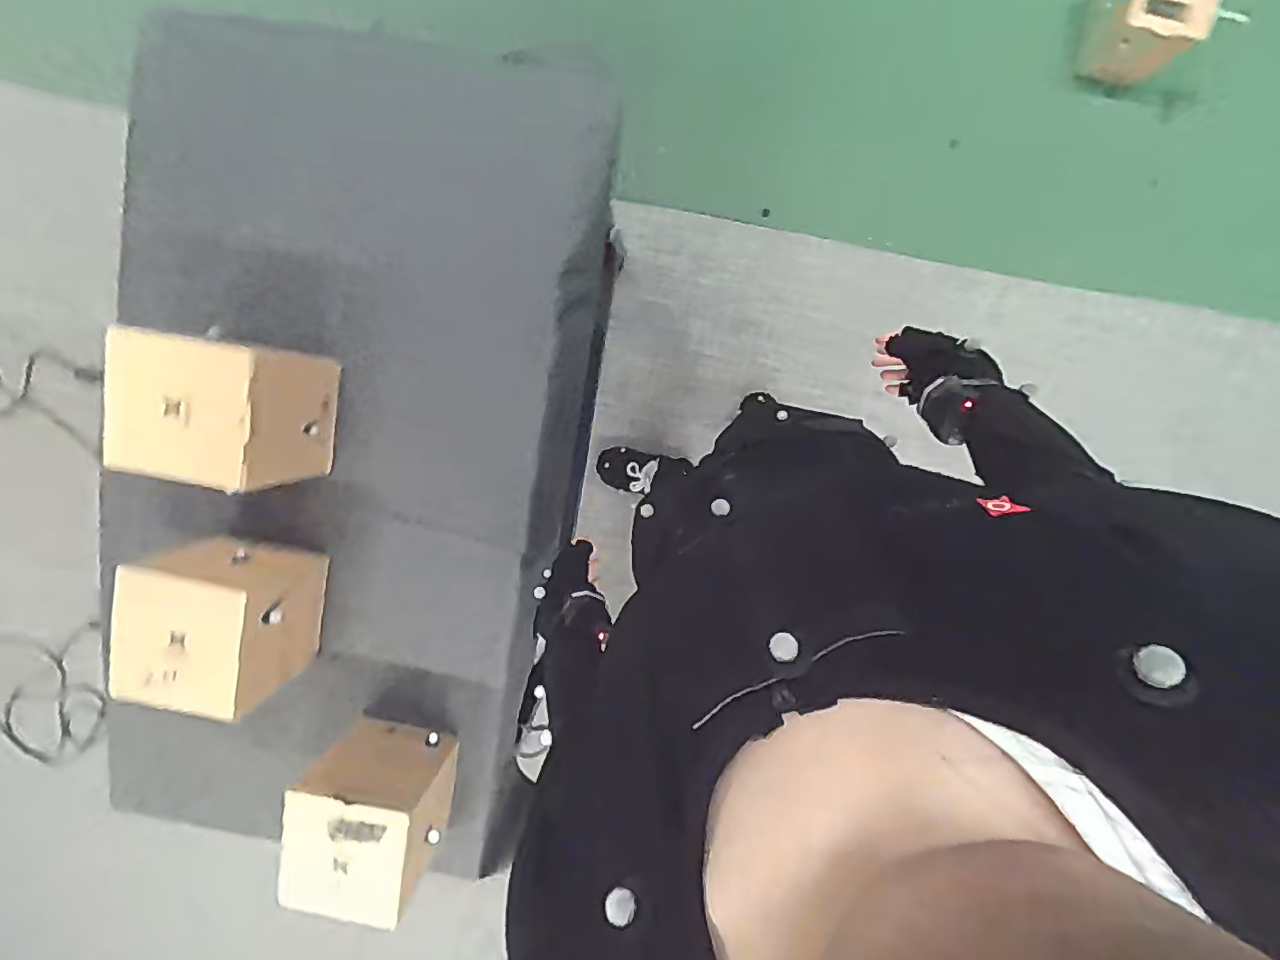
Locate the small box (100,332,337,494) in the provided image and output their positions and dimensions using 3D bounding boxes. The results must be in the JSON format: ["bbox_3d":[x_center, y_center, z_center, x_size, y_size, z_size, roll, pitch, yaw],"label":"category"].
[{"bbox_3d":[-0.536,-0.085,0.707,0.179,0.176,0.168,10,98,1],"label":"small box"}]

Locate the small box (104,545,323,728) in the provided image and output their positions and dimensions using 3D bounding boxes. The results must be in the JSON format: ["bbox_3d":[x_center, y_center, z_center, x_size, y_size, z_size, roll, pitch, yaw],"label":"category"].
[{"bbox_3d":[-0.568,0.200,0.743,0.168,0.176,0.179,12,98,1],"label":"small box"}]

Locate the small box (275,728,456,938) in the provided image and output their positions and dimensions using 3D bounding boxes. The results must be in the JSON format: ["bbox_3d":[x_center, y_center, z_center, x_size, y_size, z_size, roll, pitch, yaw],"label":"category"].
[{"bbox_3d":[-0.378,0.487,0.772,0.168,0.176,0.179,10,98,2],"label":"small box"}]
